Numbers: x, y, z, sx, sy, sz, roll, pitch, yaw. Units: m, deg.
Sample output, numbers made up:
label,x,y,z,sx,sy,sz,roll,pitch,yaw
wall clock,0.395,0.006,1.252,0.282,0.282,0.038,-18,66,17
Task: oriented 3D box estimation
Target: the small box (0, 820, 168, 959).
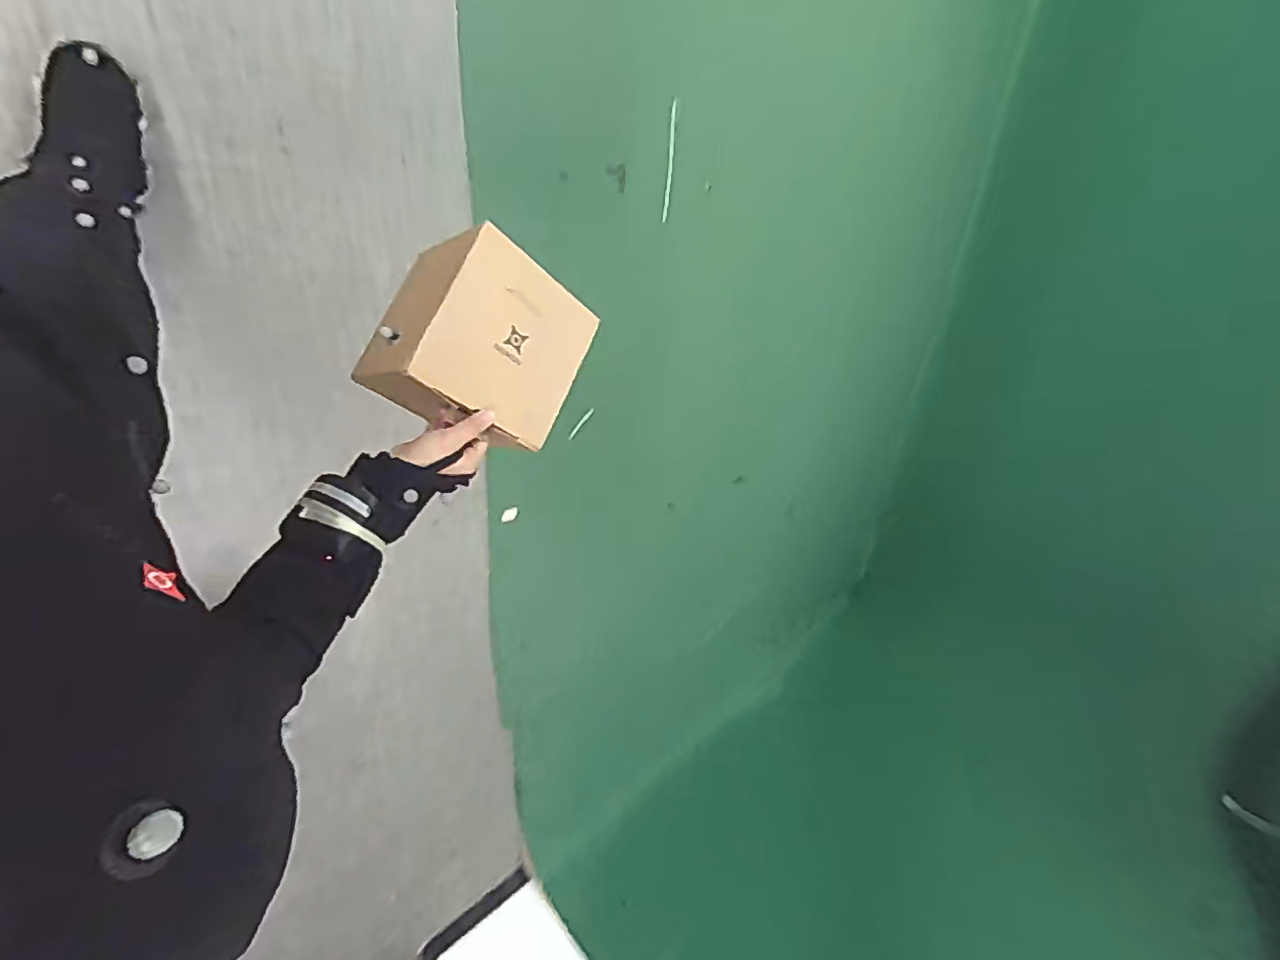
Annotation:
label,x,y,z,sx,sy,sz,roll,pitch,yaw
small box,-0.786,0.625,0.751,0.179,0.176,0.168,-7,116,-43
